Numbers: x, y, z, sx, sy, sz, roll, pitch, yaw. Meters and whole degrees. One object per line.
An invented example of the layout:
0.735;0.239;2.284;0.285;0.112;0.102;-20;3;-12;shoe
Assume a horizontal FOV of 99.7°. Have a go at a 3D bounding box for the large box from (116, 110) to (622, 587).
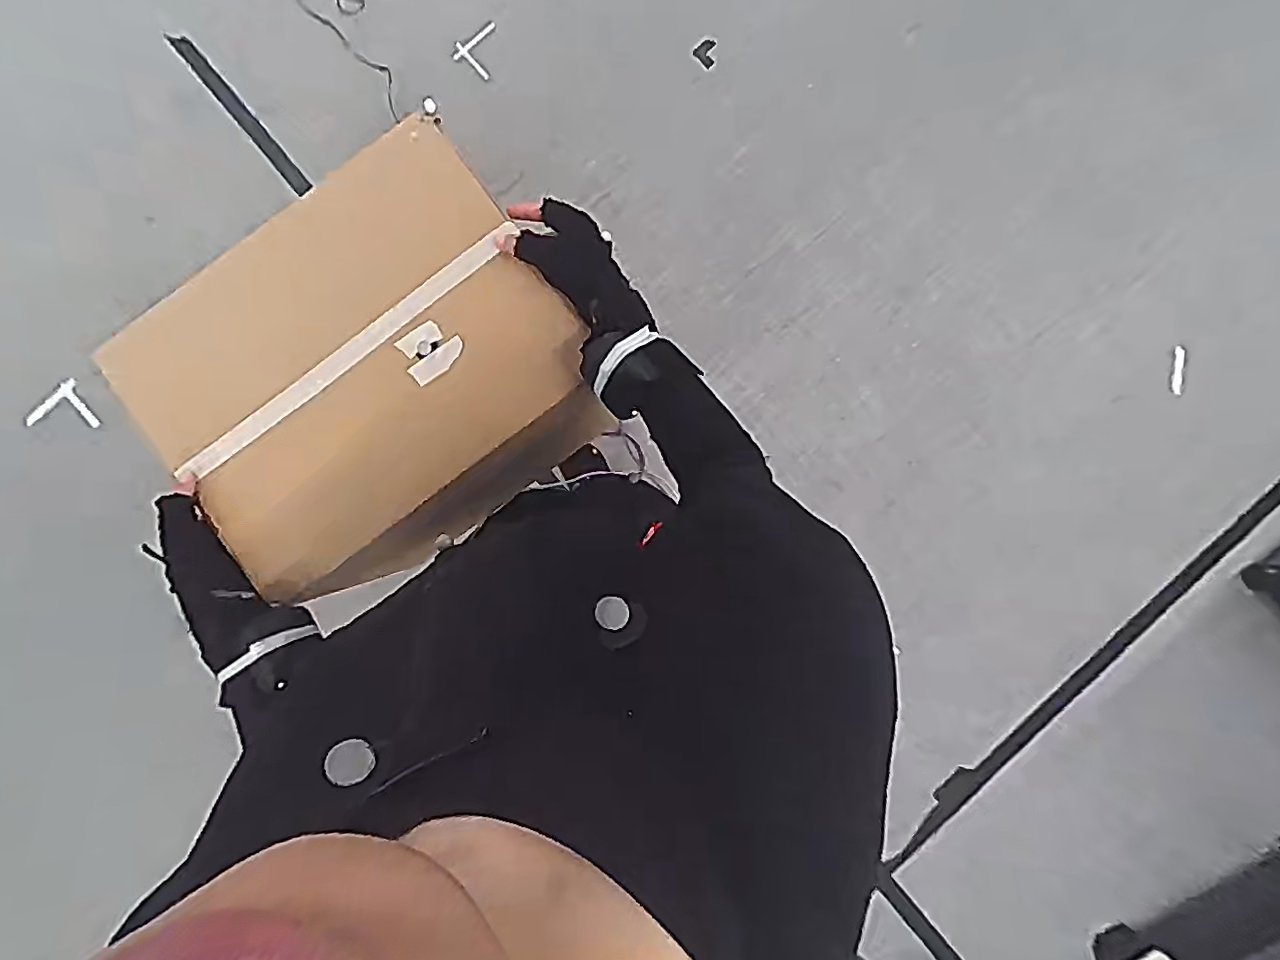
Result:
-0.274;-0.125;0.680;0.408;0.320;0.320;-37;89;-1;large box
